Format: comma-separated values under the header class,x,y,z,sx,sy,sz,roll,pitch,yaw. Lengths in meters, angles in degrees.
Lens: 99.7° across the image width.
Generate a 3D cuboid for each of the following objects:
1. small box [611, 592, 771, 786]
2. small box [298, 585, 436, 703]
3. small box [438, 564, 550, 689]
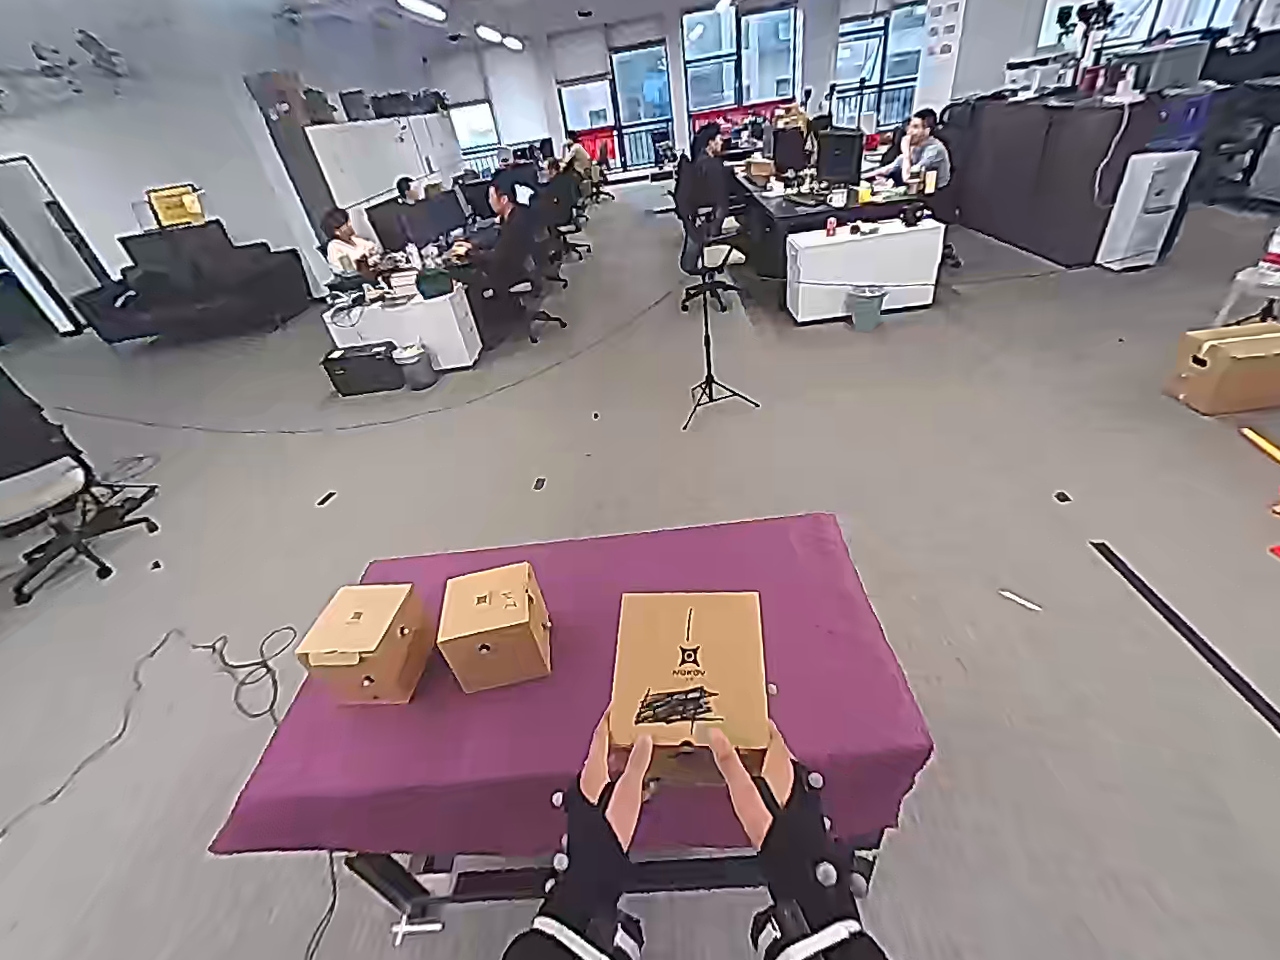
class,x,y,z,sx,sy,sz,roll,pitch,yaw
small box,0.069,0.253,0.650,0.168,0.176,0.179,-2,49,9
small box,-0.548,0.339,1.118,0.168,0.176,0.179,-3,35,8
small box,-0.289,0.302,1.108,0.179,0.176,0.168,-11,36,-3
